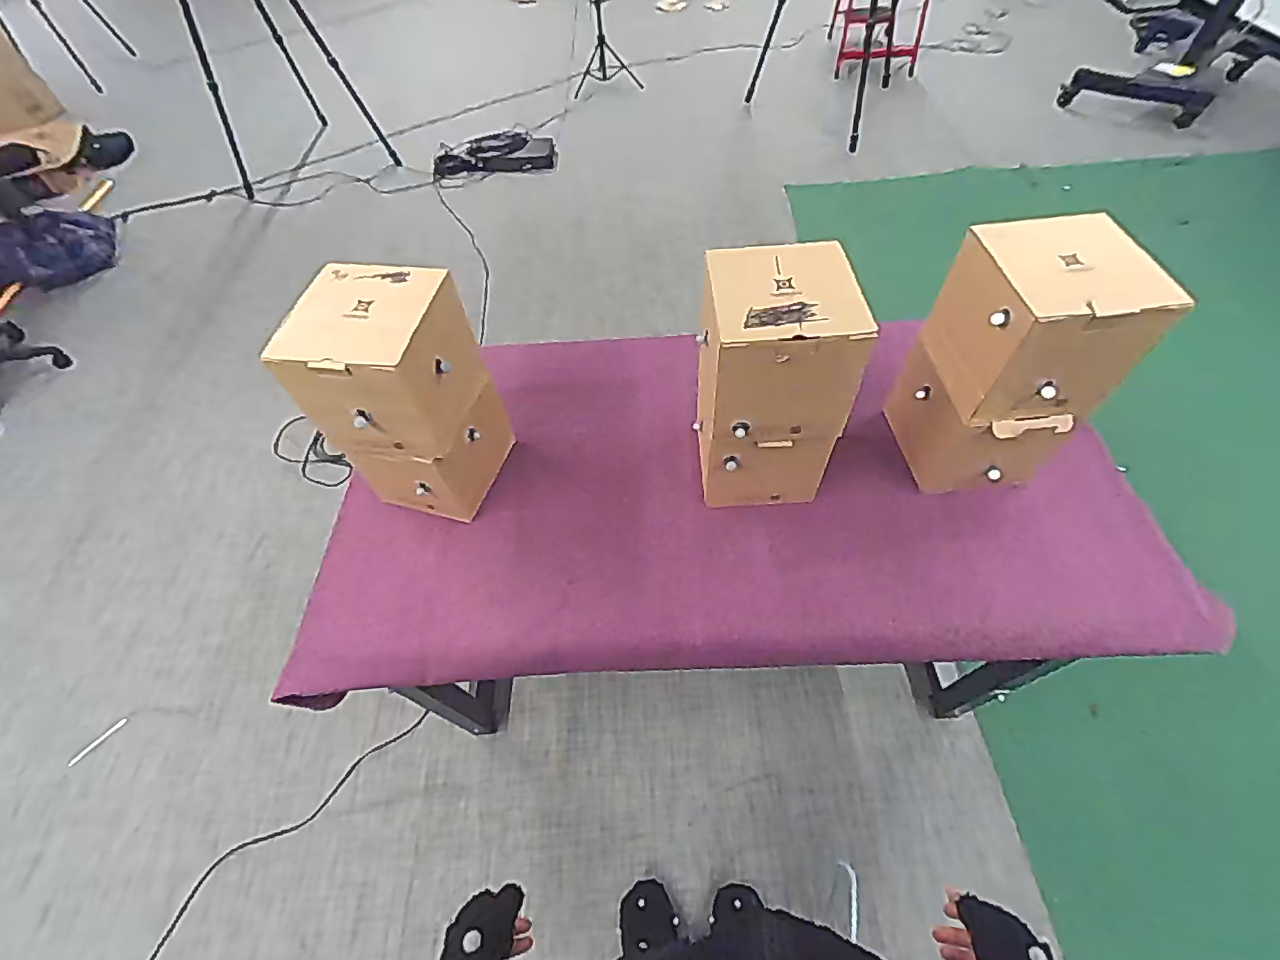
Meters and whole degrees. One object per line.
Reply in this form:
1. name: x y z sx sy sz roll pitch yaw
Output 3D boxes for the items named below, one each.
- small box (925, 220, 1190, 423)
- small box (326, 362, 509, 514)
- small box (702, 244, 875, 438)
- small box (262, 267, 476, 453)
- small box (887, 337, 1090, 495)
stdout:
1. small box: 0.490 -0.194 0.675 0.168 0.176 0.179 -5 56 0
2. small box: -0.319 -0.071 0.822 0.168 0.176 0.179 13 57 12
3. small box: 0.167 -0.165 0.674 0.168 0.176 0.179 -3 54 1
4. small box: -0.326 -0.150 0.700 0.168 0.176 0.179 2 56 6
5. small box: 0.496 -0.099 0.807 0.168 0.176 0.179 -6 56 1
